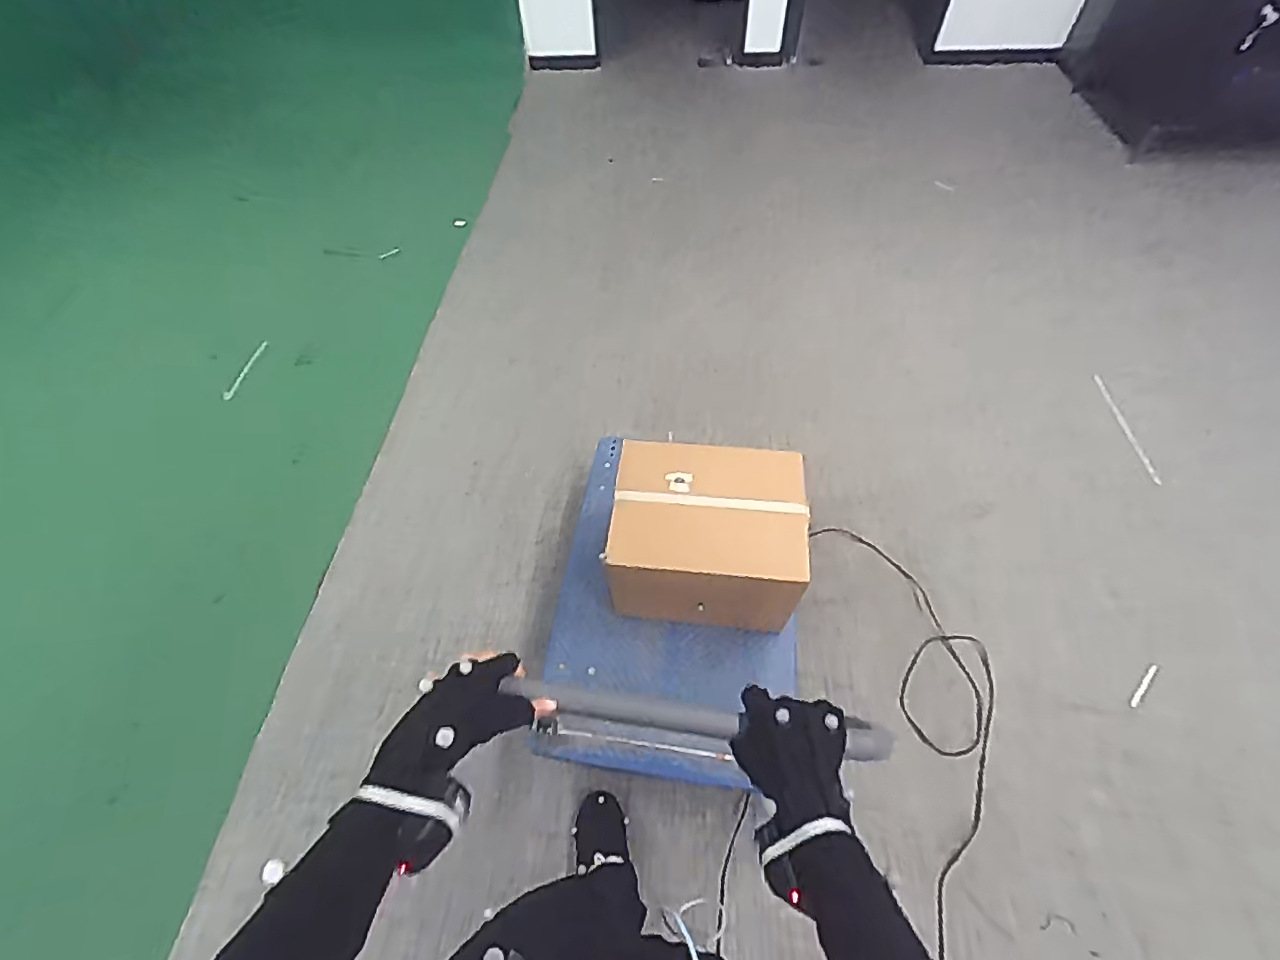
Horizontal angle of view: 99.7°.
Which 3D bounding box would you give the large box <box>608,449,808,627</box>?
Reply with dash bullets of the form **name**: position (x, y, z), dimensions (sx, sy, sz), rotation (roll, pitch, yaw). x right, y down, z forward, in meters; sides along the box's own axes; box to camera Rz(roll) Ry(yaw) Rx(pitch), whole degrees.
- **large box**: position (0.154, 0.143, 1.274), dimensions (0.408, 0.320, 0.320), rotation (3, 57, 6)
